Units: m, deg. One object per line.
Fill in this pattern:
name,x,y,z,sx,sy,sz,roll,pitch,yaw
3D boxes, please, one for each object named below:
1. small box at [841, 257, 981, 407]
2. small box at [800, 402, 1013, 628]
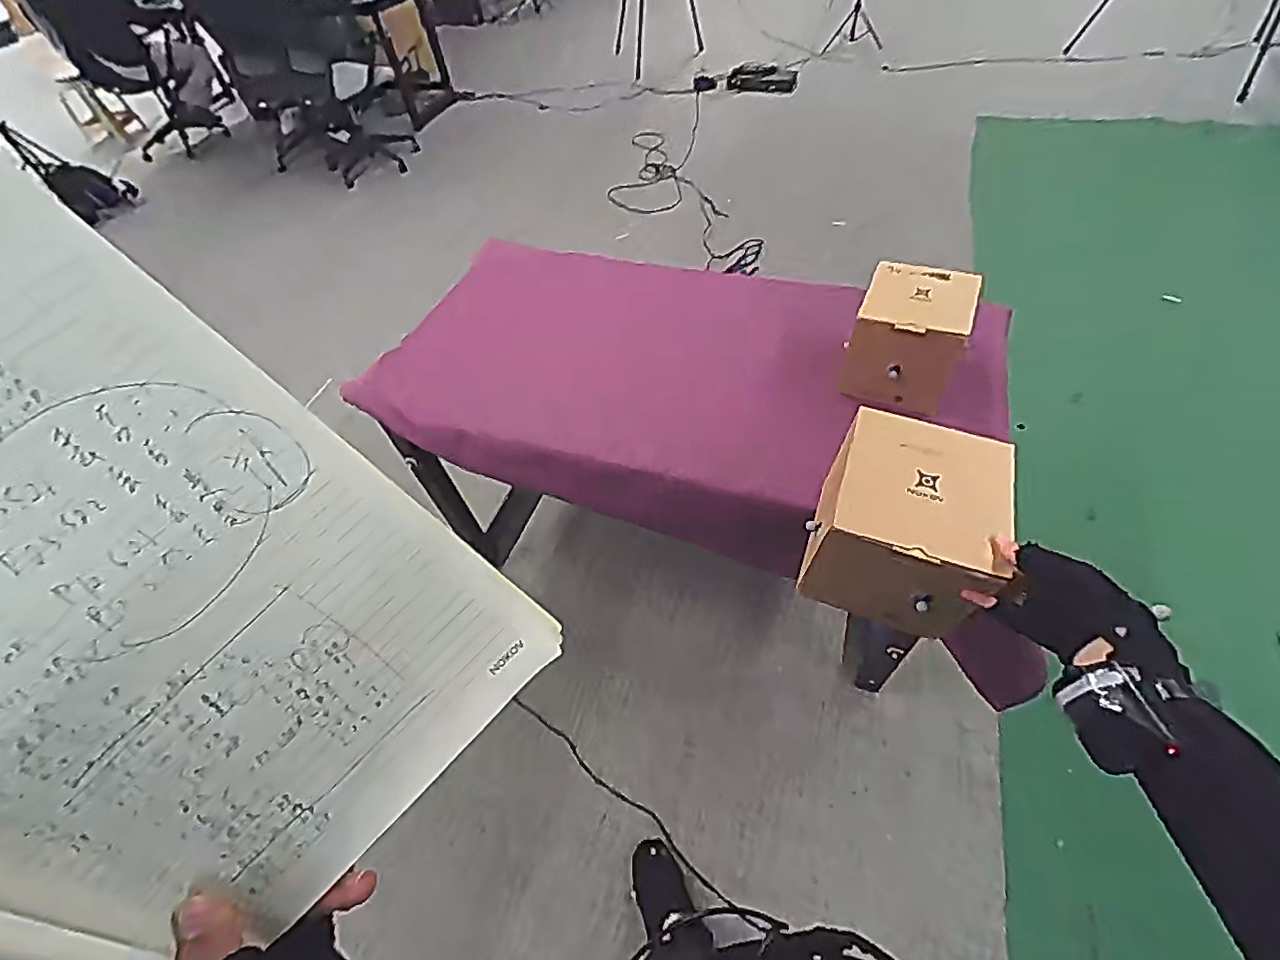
small box,0.461,-0.254,0.940,0.168,0.176,0.179,19,58,20
small box,0.294,0.045,0.623,0.168,0.176,0.179,19,58,13
